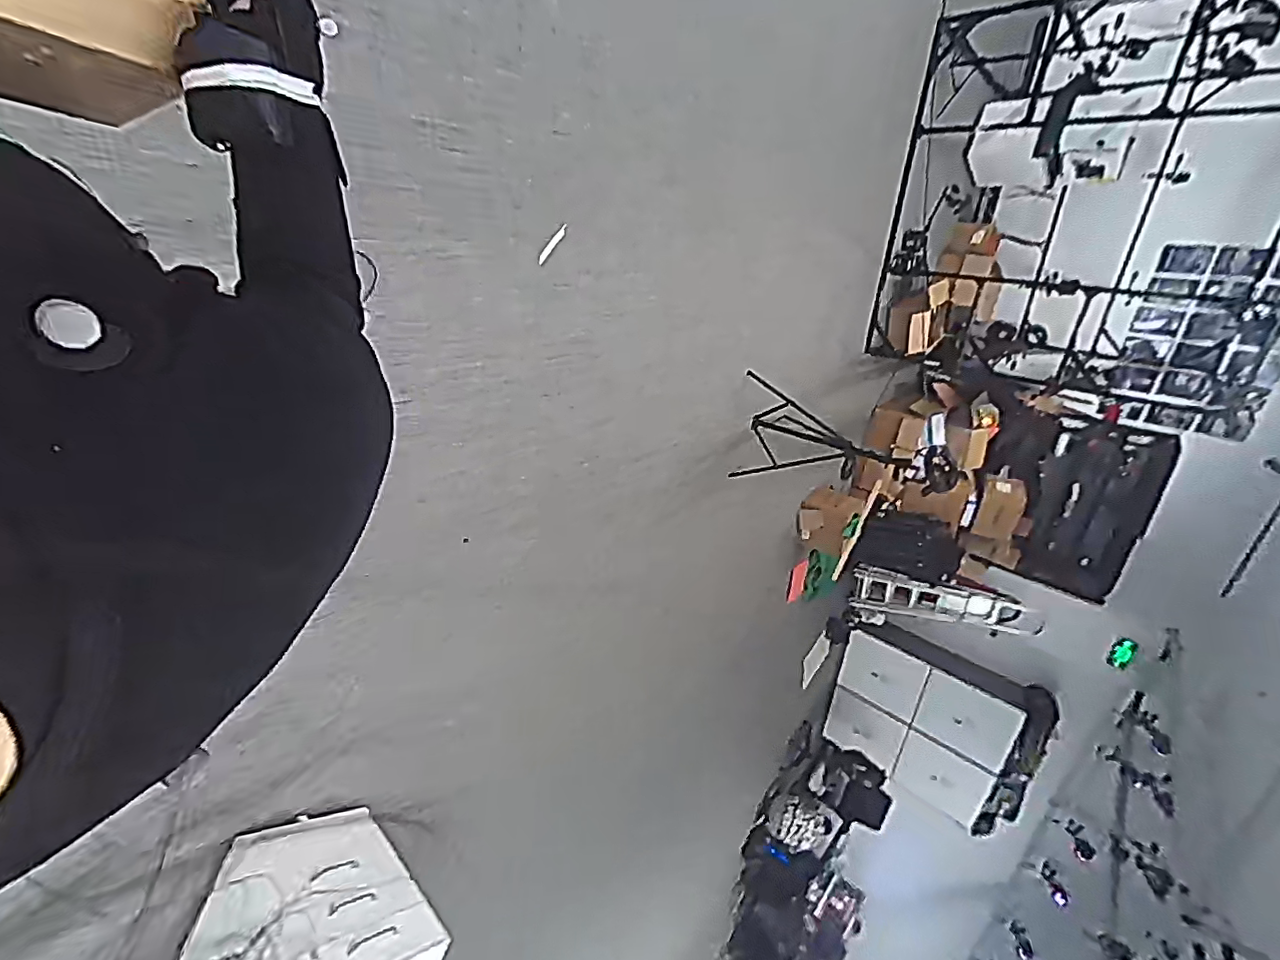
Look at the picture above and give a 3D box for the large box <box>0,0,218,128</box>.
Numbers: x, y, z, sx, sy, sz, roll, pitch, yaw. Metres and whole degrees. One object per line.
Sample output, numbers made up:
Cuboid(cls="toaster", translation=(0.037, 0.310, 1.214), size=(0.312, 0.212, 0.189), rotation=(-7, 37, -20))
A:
Cuboid(cls="large box", translation=(-0.527, -0.438, 0.284), size=(0.408, 0.320, 0.320), rotation=(-12, 117, -51))
